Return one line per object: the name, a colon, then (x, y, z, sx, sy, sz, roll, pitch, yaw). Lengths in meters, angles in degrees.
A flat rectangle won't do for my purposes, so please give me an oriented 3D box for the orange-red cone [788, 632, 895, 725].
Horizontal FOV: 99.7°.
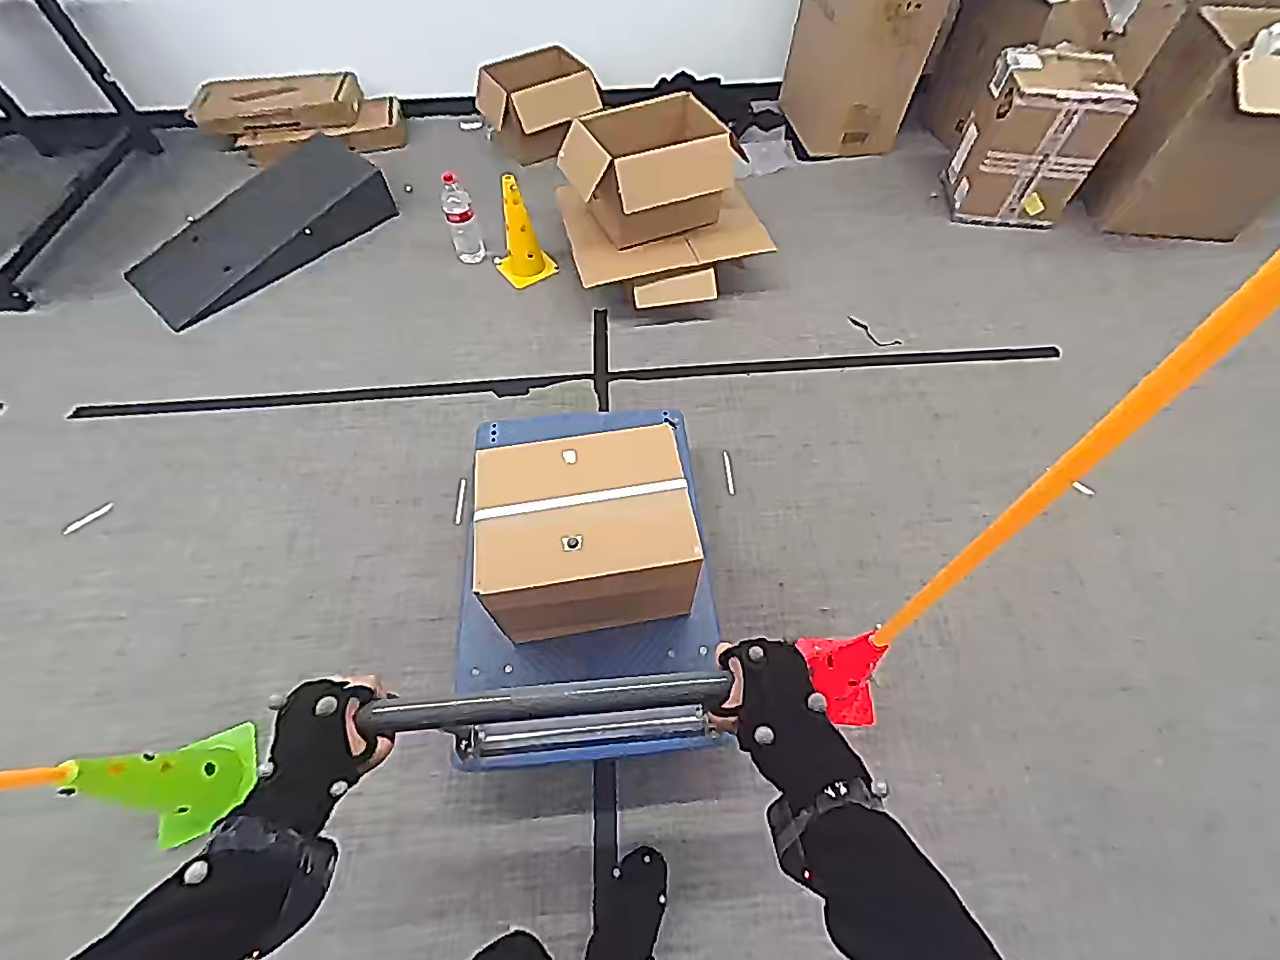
orange-red cone: (0.459, 0.390, 1.152, 0.199, 0.360, 0.198, 3, 59, 1)
